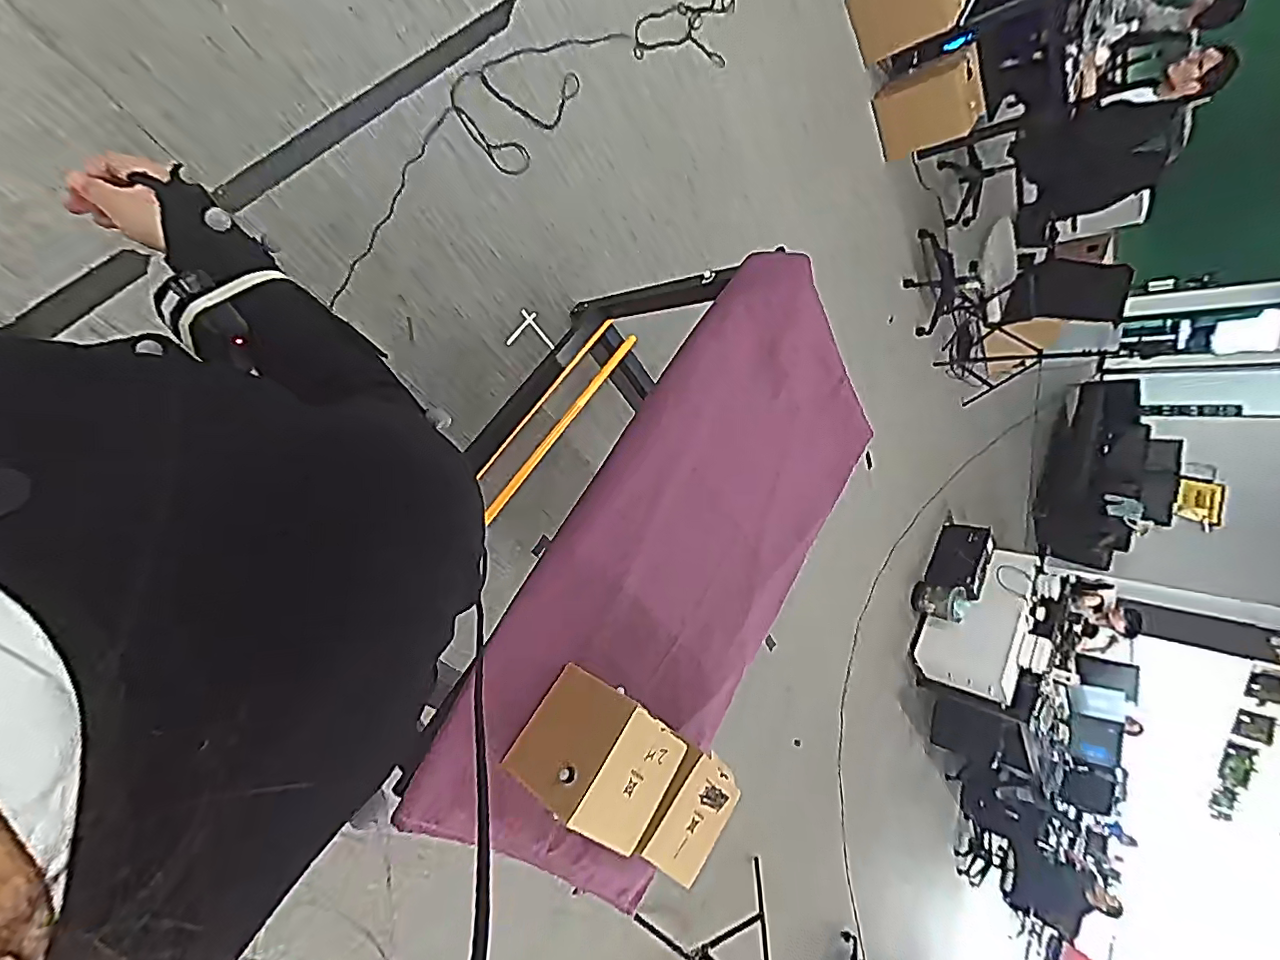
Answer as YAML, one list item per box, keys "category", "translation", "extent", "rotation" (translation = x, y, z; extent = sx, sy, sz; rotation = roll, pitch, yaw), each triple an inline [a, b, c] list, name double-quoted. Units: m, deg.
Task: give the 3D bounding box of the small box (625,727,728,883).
- category: "small box"
  translation: [0.020, 0.547, 0.954]
  extent: [0.179, 0.176, 0.168]
  rotation: [-50, 125, -26]

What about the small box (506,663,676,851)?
- category: "small box"
  translation: [-0.081, 0.420, 0.837]
  extent: [0.179, 0.176, 0.168]
  rotation: [-55, 131, -24]
